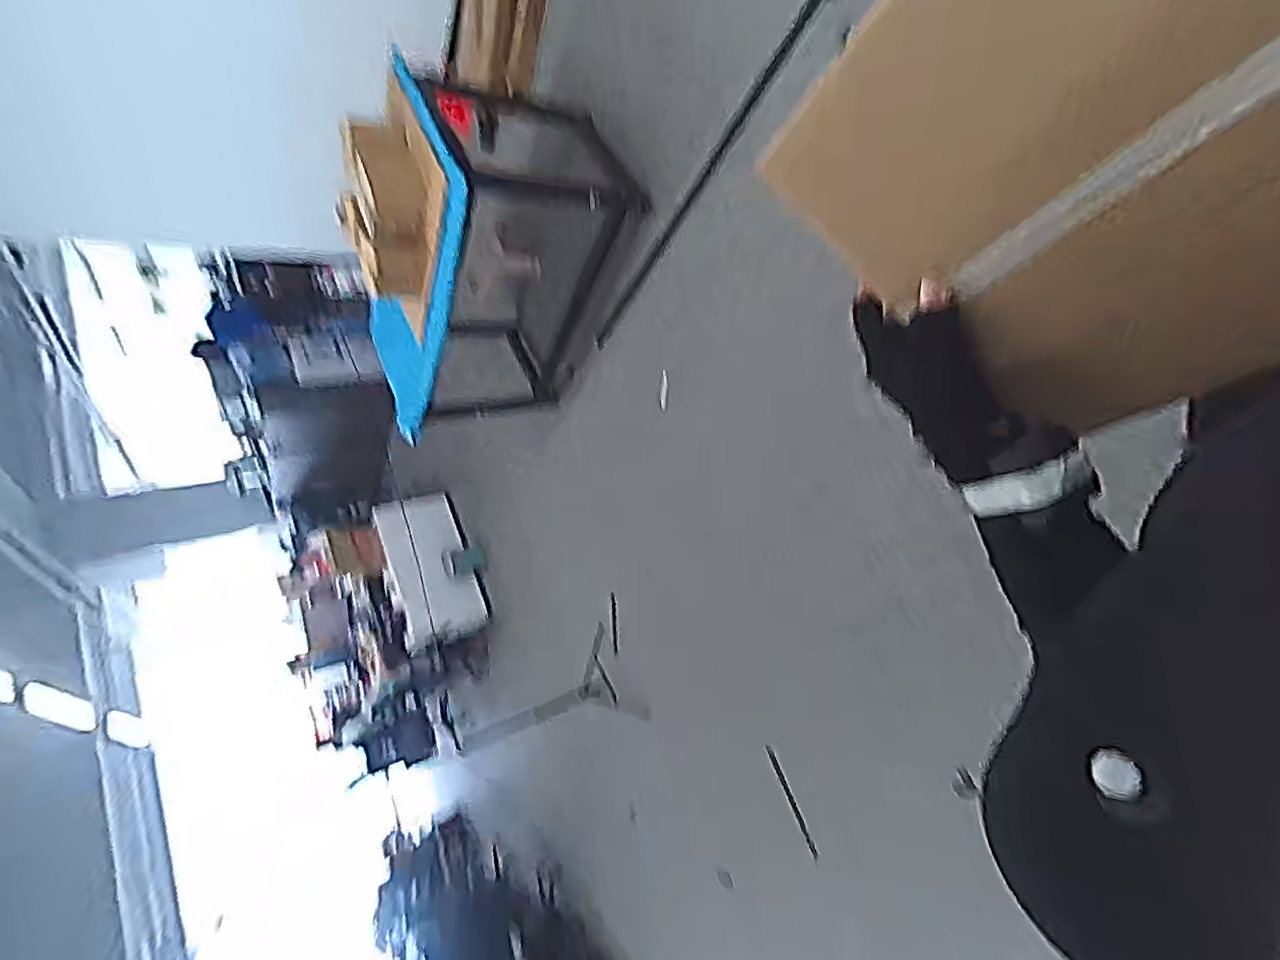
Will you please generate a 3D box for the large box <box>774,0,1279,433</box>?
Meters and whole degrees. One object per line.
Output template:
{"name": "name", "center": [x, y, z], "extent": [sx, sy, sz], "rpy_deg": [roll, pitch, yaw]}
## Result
{"name": "large box", "center": [0.365, -0.302, 0.333], "extent": [0.320, 0.320, 0.408], "rpy_deg": [39, 147, -9]}
